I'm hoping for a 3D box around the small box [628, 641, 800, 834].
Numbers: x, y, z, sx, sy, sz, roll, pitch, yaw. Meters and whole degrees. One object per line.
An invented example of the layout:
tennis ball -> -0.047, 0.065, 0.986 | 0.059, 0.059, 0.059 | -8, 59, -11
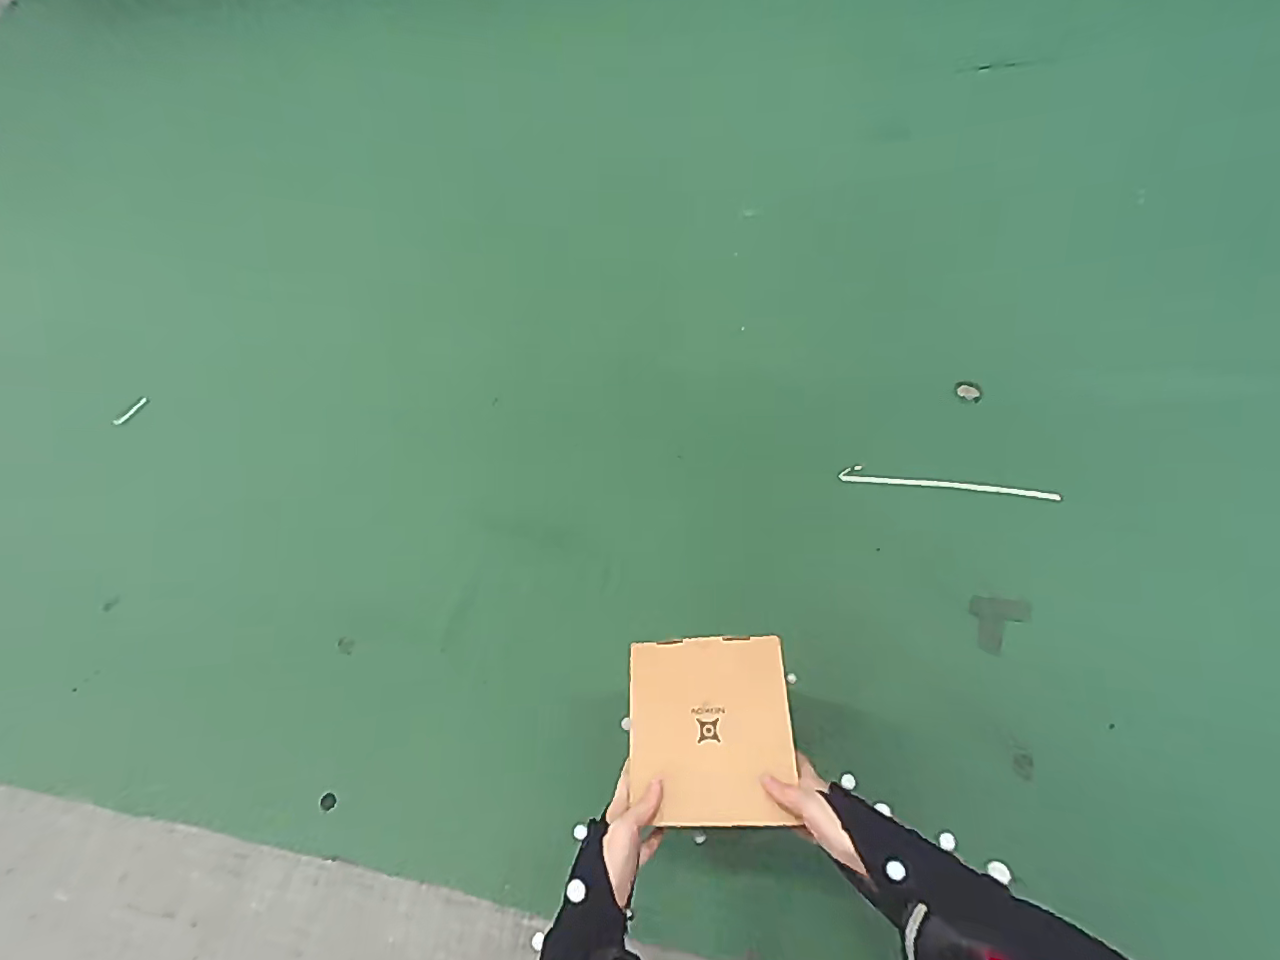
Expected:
small box -> 0.085, 0.294, 0.615 | 0.168, 0.176, 0.179 | -5, 58, 9
